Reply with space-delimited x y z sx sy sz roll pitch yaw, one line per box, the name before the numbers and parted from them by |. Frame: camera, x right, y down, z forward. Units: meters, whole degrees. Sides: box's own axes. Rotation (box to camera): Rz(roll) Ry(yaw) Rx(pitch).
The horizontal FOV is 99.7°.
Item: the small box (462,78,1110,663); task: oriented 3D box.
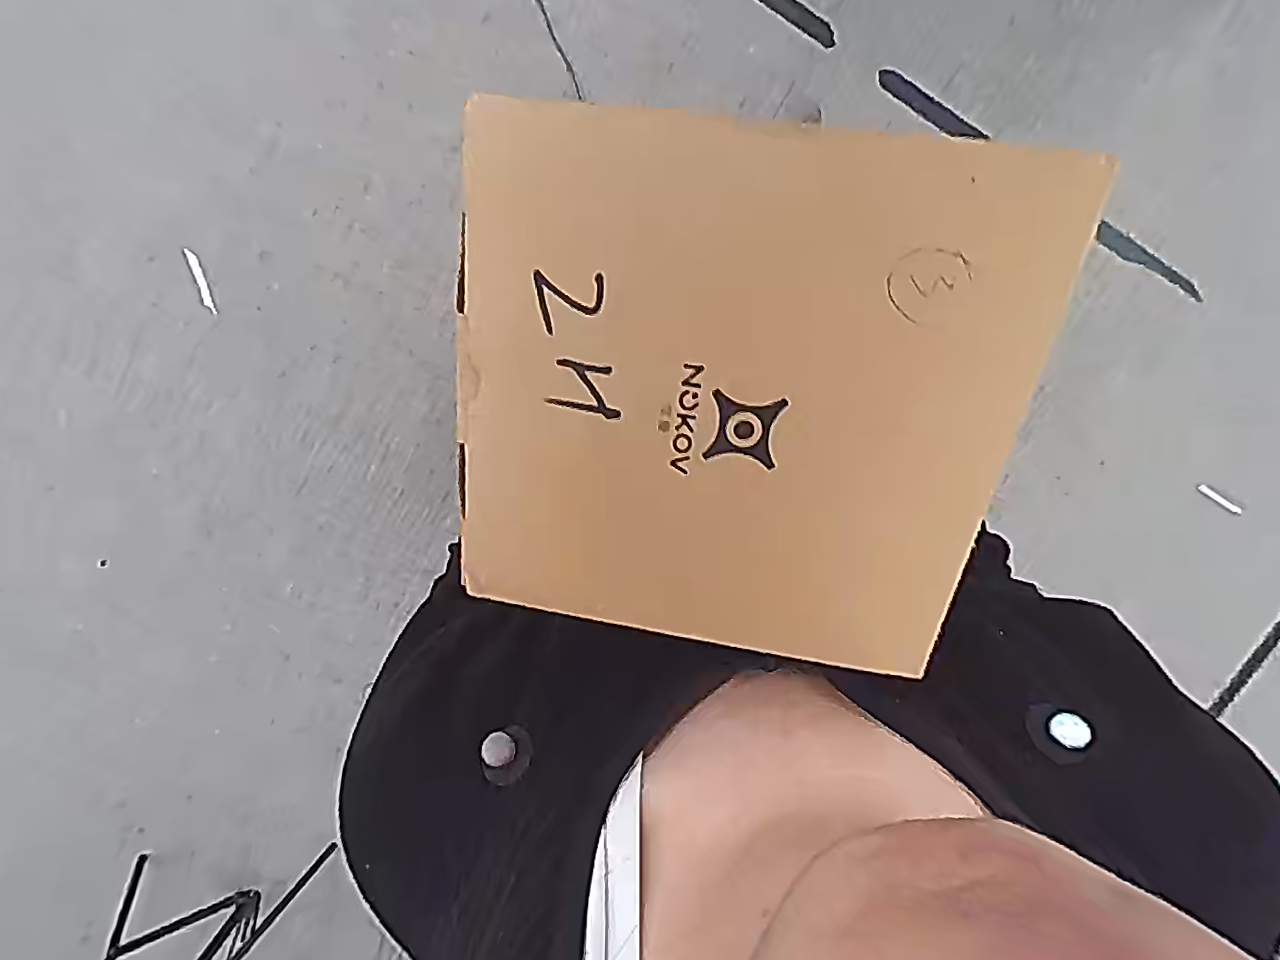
small box | 0.040 -0.051 0.251 0.179 0.176 0.168 12 111 6
